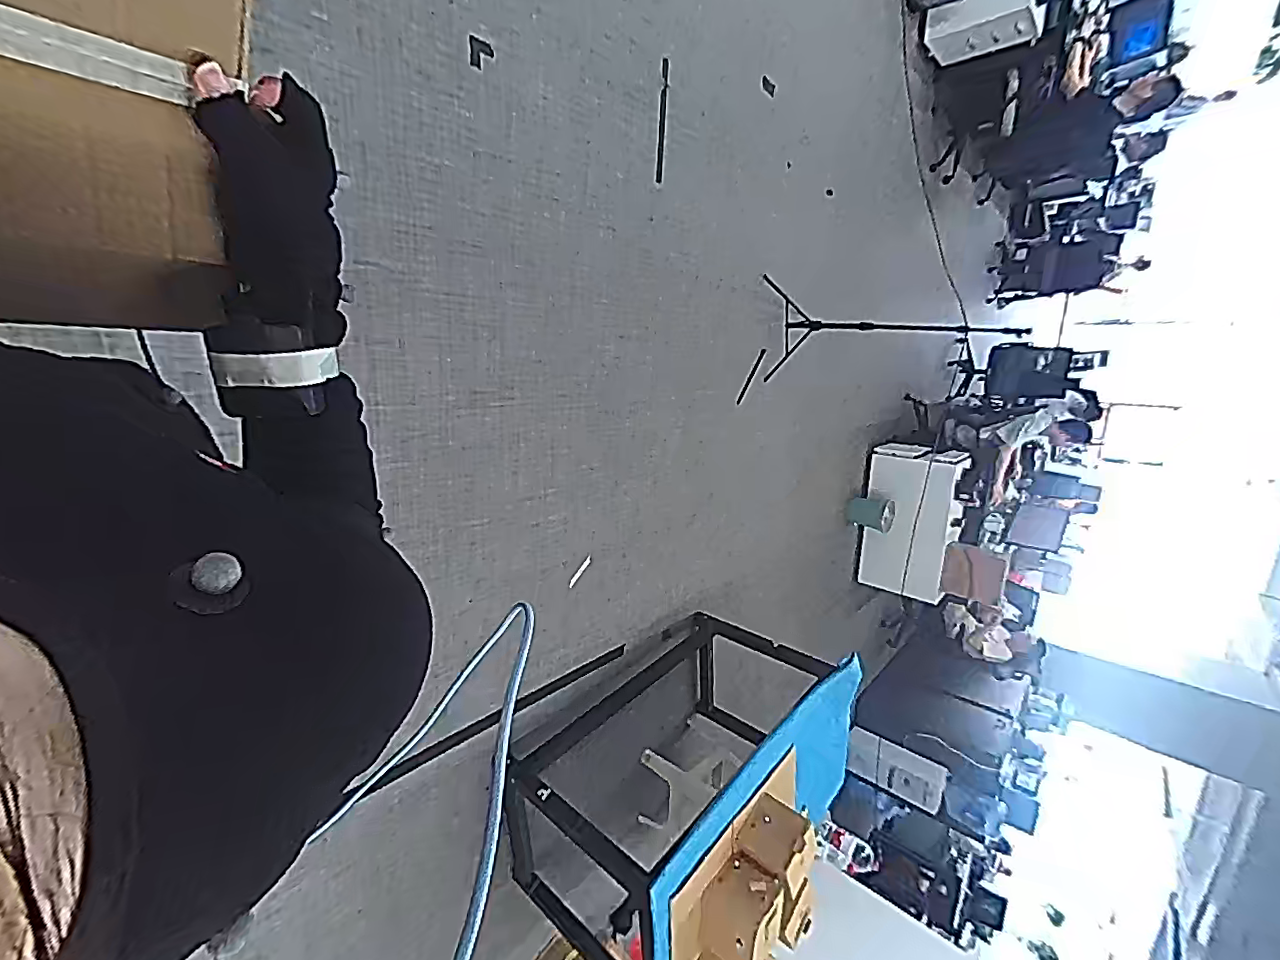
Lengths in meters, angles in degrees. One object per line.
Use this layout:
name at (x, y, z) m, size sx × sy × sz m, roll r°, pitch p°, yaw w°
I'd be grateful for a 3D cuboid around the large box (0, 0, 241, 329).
large box at (-0.462, -0.295, 0.248) m, size 0.408 × 0.320 × 0.320 m, roll -12°, pitch 142°, yaw -46°
